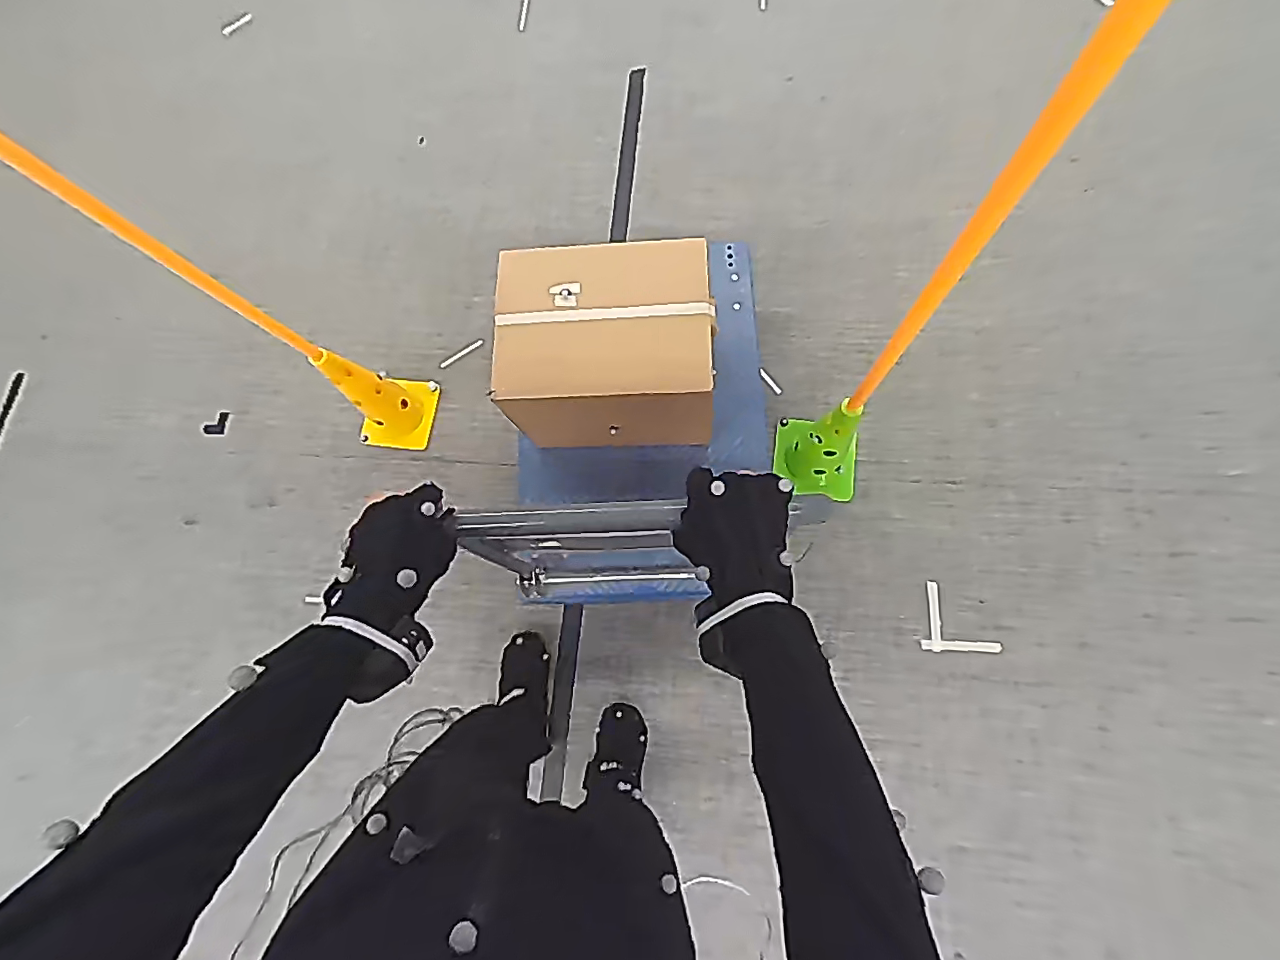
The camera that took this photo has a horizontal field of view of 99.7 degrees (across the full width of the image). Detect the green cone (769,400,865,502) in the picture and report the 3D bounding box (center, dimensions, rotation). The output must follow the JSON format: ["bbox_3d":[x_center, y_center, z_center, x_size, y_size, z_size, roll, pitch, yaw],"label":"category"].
[{"bbox_3d":[0.425,-0.091,1.218,0.202,0.368,0.200,8,77,7],"label":"green cone"}]

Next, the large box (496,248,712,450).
[{"bbox_3d":[-0.055,-0.255,1.161,0.408,0.320,0.320,-1,76,6],"label":"large box"}]
